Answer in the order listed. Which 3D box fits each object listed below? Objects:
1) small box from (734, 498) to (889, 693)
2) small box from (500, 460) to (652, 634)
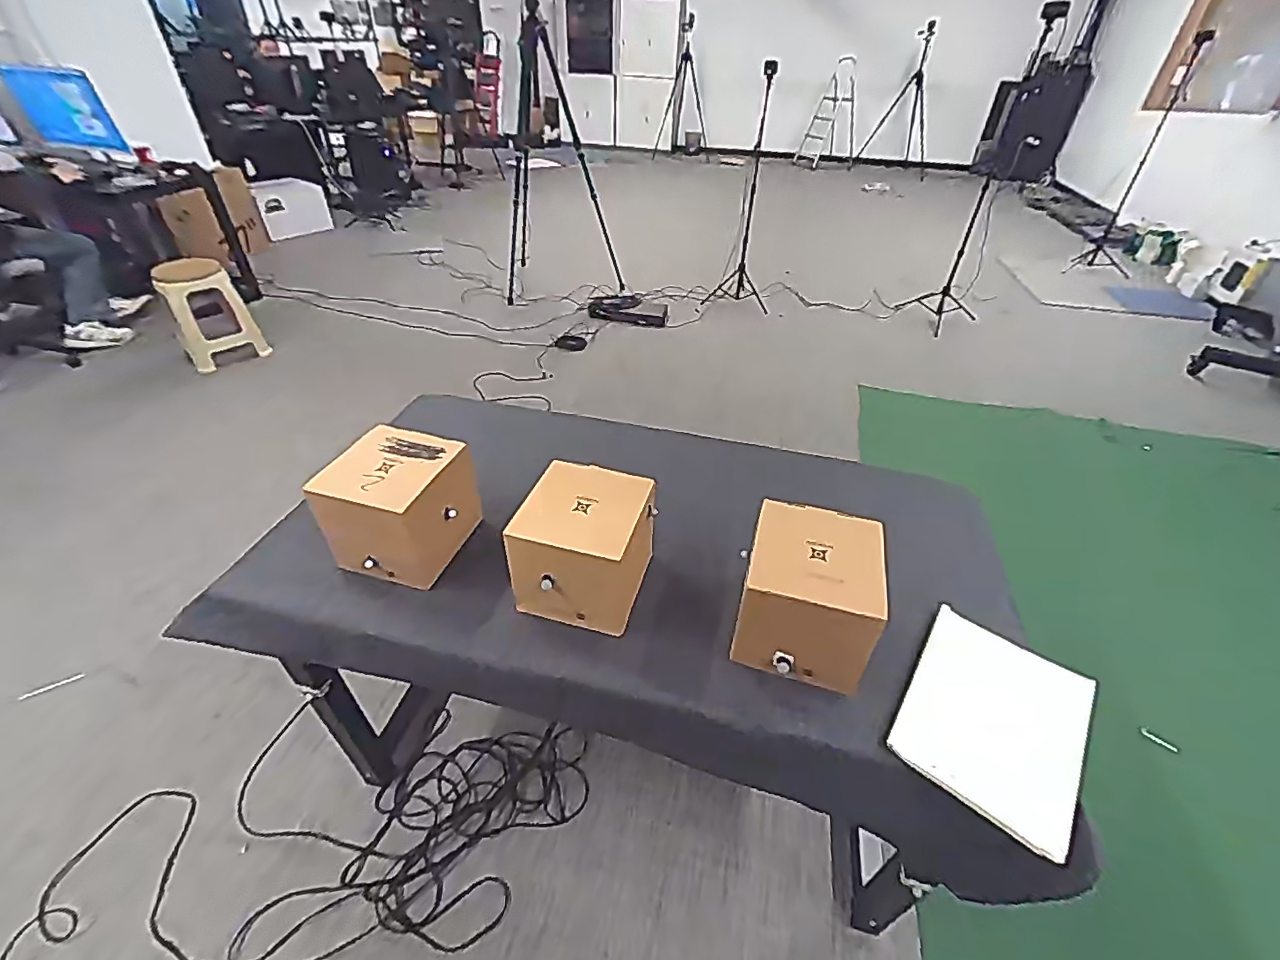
[{"bbox_3d":[0.228,0.155,0.742,0.168,0.176,0.179,11,41,13],"label":"small box"},{"bbox_3d":[-0.083,0.098,0.799,0.168,0.176,0.179,11,39,11],"label":"small box"}]
